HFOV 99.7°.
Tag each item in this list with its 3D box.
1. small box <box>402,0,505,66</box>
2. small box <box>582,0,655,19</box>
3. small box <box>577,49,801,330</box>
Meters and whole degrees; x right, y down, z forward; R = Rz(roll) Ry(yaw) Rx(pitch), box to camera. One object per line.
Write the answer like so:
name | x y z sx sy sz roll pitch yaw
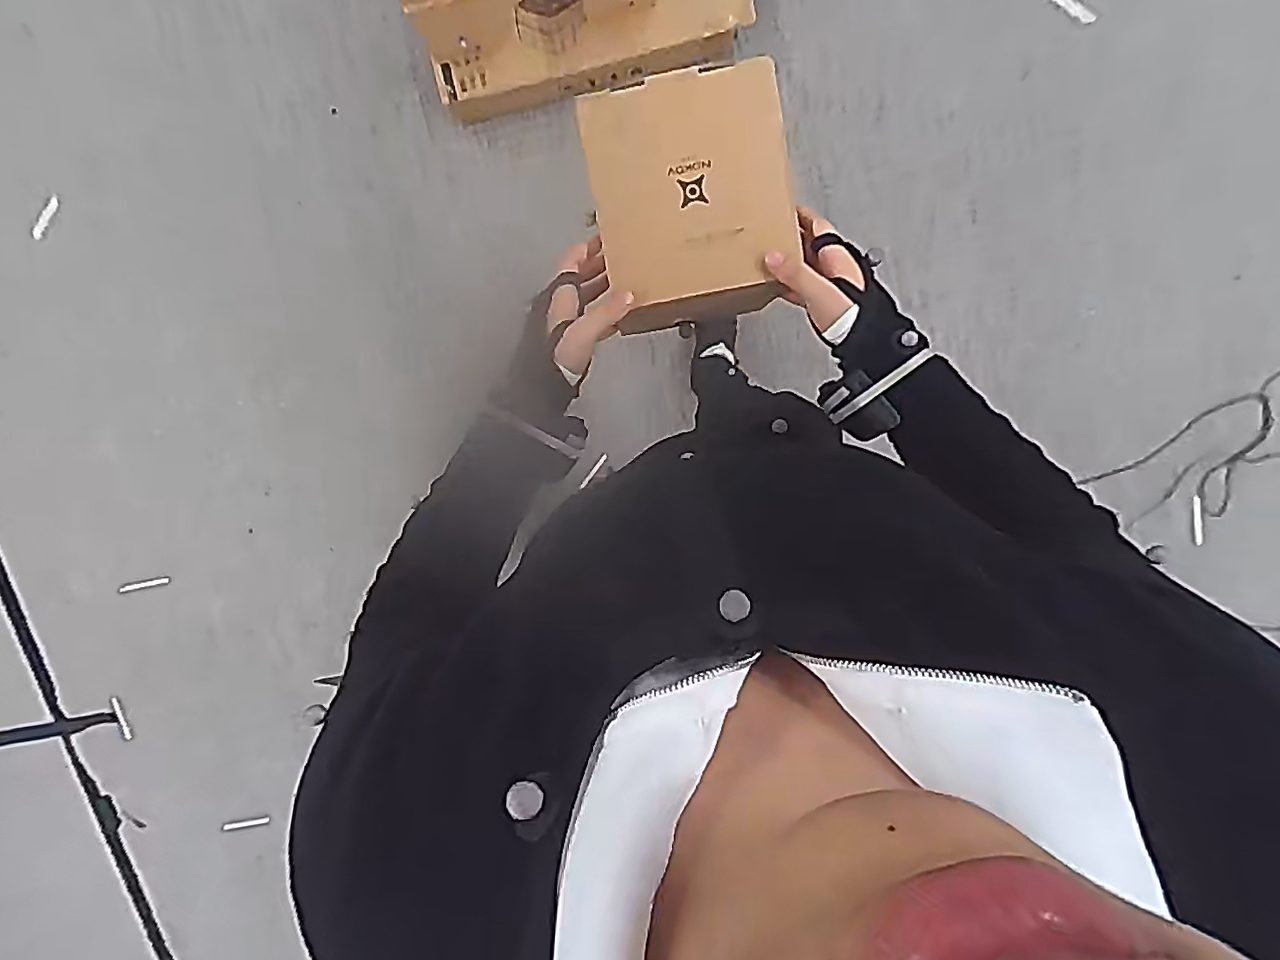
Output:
small box | -0.404 -1.035 1.143 0.168 0.176 0.179 -13 98 4
small box | -0.063 -1.113 1.123 0.168 0.176 0.179 -14 98 6
small box | 0.041 -0.259 0.525 0.168 0.176 0.179 -11 97 1
